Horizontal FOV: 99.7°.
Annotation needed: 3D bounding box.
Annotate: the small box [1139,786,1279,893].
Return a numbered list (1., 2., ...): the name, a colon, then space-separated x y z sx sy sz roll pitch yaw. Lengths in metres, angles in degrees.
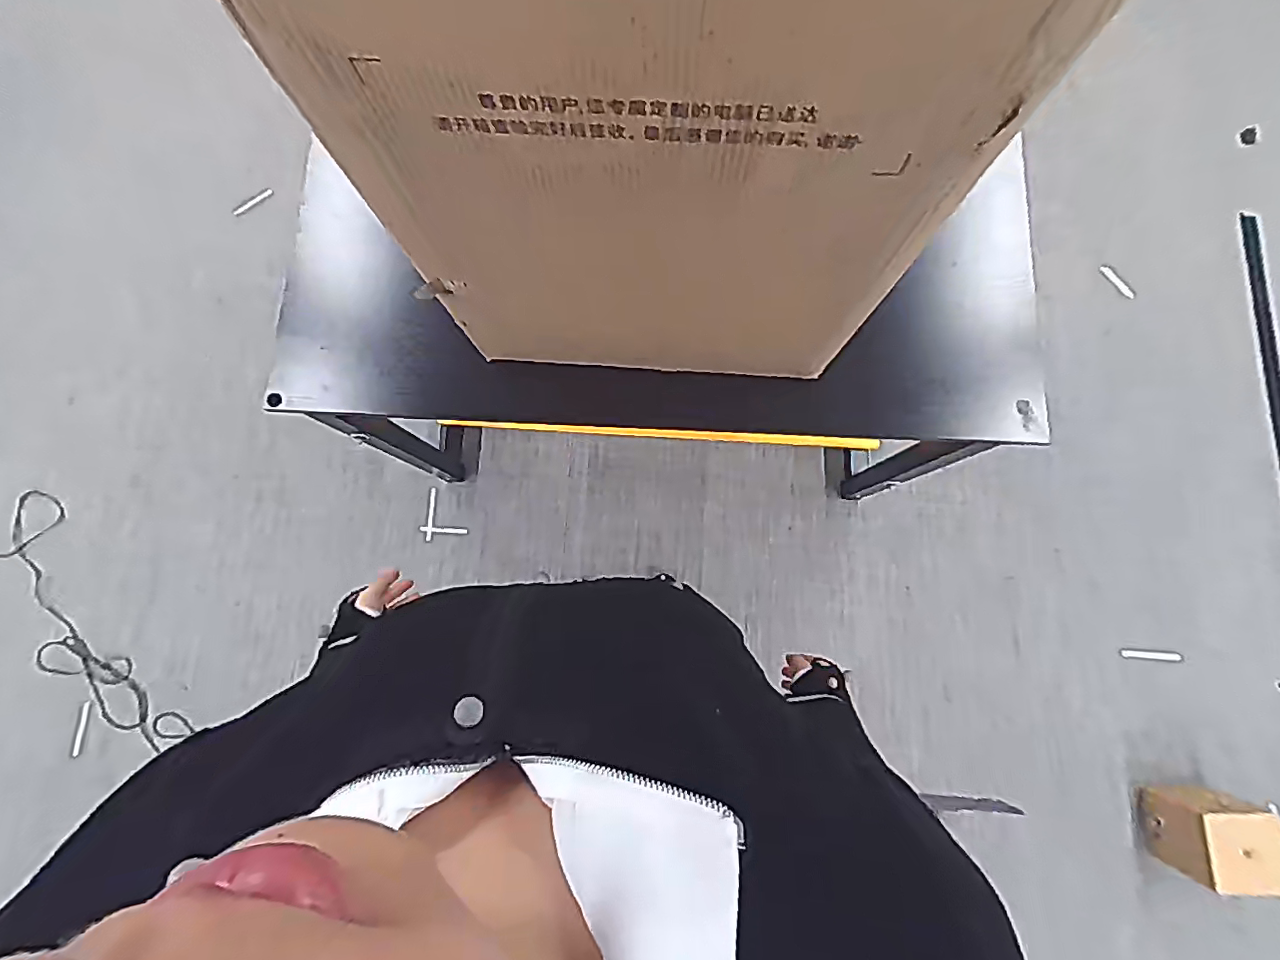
1. small box: 1.365 0.851 1.293 0.179 0.176 0.168 -2 79 2
